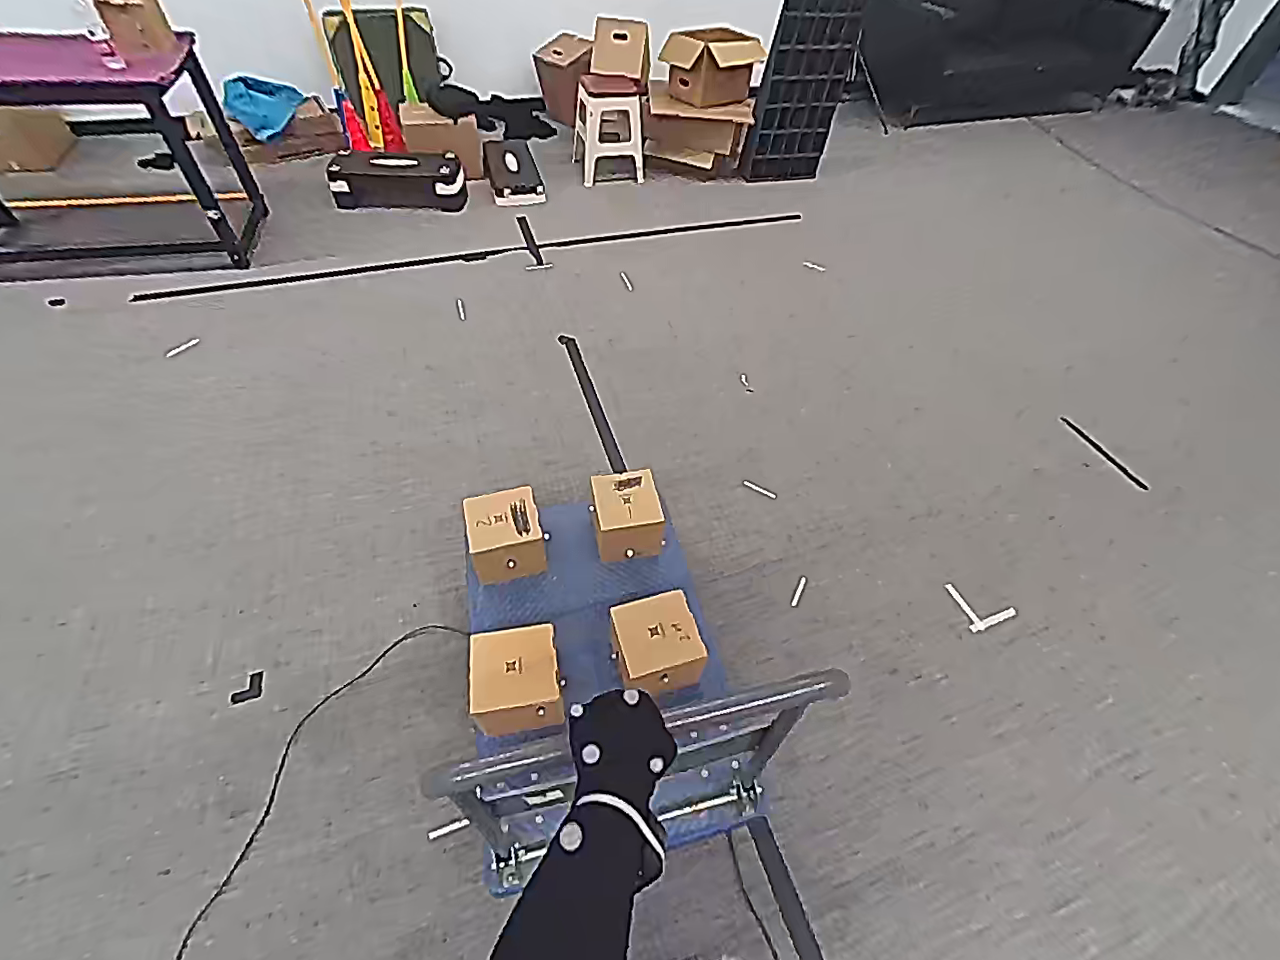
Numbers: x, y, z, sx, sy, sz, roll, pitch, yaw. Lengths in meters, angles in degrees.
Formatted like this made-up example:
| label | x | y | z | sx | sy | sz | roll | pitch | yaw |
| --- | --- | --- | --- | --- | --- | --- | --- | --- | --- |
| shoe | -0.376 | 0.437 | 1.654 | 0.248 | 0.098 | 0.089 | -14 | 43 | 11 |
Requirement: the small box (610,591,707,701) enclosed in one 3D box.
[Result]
| label | x | y | z | sx | sy | sz | roll | pitch | yaw |
| --- | --- | --- | --- | --- | --- | --- | --- | --- | --- |
| small box | 0.037 | 0.383 | 1.235 | 0.179 | 0.176 | 0.168 | -12 | 53 | -13 |

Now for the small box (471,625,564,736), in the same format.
| label | x | y | z | sx | sy | sz | roll | pitch | yaw |
| --- | --- | --- | --- | --- | --- | --- | --- | --- | --- |
| small box | -0.262 | 0.437 | 1.172 | 0.179 | 0.176 | 0.168 | -6 | 51 | -11 |

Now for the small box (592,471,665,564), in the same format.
| label | x | y | z | sx | sy | sz | roll | pitch | yaw |
| --- | --- | --- | --- | --- | --- | --- | --- | --- | --- |
| small box | -0.037 | 0.102 | 1.459 | 0.168 | 0.176 | 0.179 | -8 | 53 | -10 |
